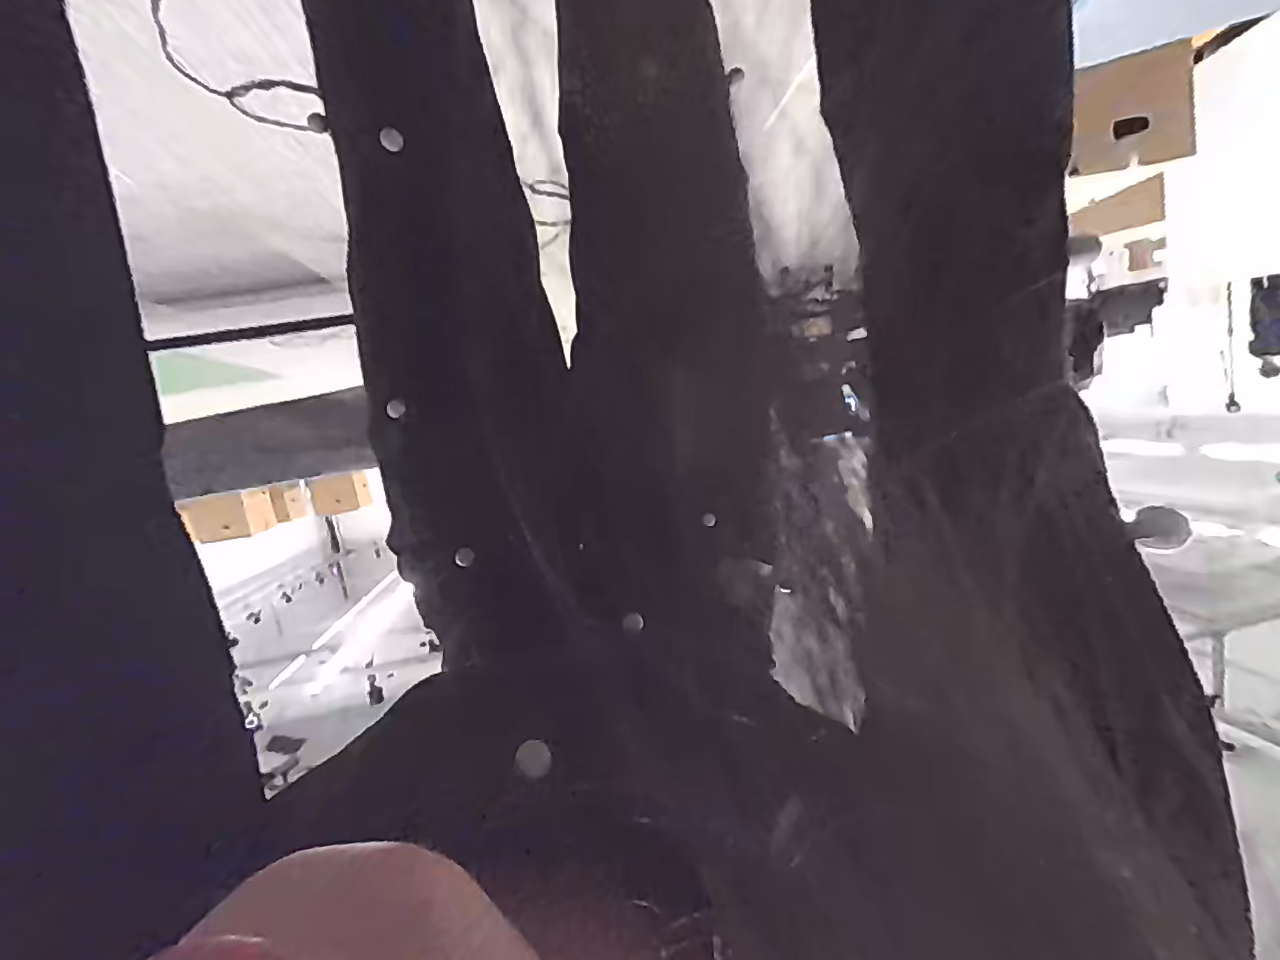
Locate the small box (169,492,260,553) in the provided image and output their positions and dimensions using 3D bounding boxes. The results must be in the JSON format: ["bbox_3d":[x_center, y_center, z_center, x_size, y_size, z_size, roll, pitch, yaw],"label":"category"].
[{"bbox_3d":[-1.478,0.140,1.883,0.179,0.176,0.168,-10,-173,-6],"label":"small box"}]
